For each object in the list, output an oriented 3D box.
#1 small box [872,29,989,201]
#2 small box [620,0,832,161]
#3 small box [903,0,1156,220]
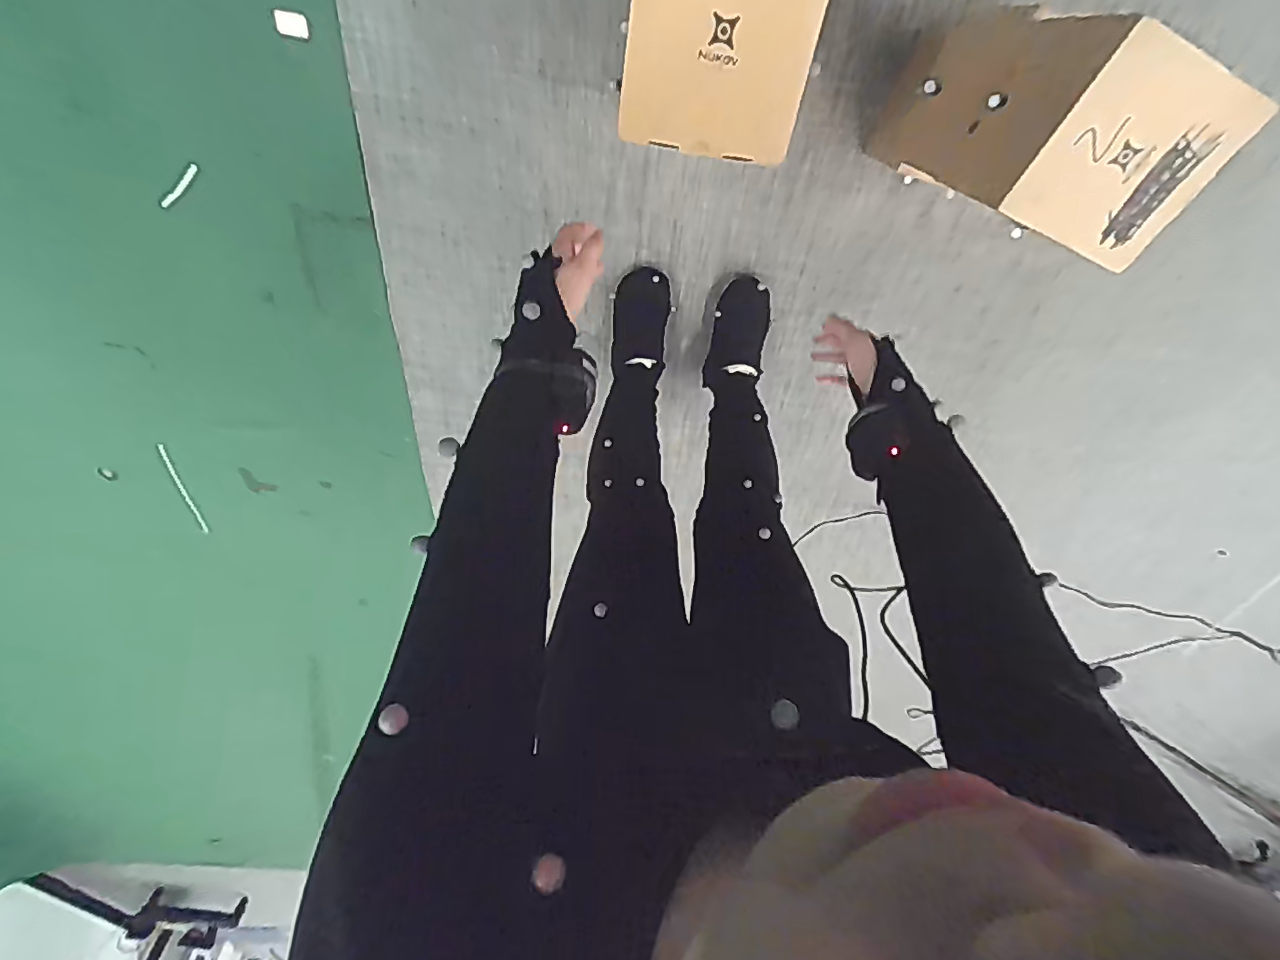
[{"bbox_3d":[0.489,-0.562,0.829,0.168,0.176,0.179,13,128,-9],"label":"small box"},{"bbox_3d":[0.073,-0.432,0.521,0.168,0.176,0.179,7,128,-5],"label":"small box"},{"bbox_3d":[0.470,-0.471,0.693,0.168,0.176,0.179,16,128,-12],"label":"small box"}]
